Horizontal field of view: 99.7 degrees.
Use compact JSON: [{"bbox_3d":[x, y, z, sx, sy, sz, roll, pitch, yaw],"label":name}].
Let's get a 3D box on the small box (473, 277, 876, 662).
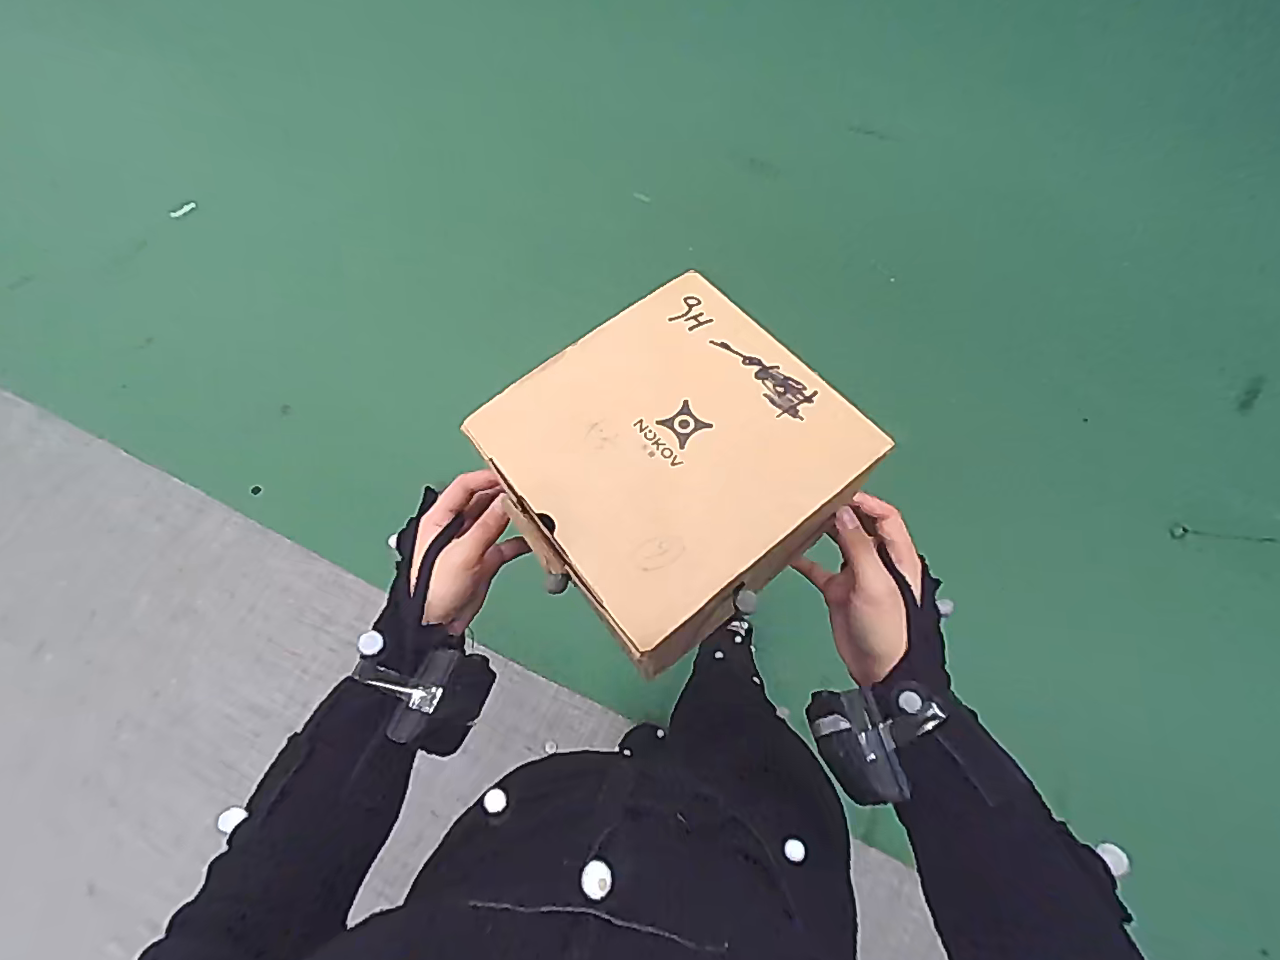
[{"bbox_3d":[0.021,0.006,0.379,0.179,0.176,0.168,-37,69,-12],"label":"small box"}]
